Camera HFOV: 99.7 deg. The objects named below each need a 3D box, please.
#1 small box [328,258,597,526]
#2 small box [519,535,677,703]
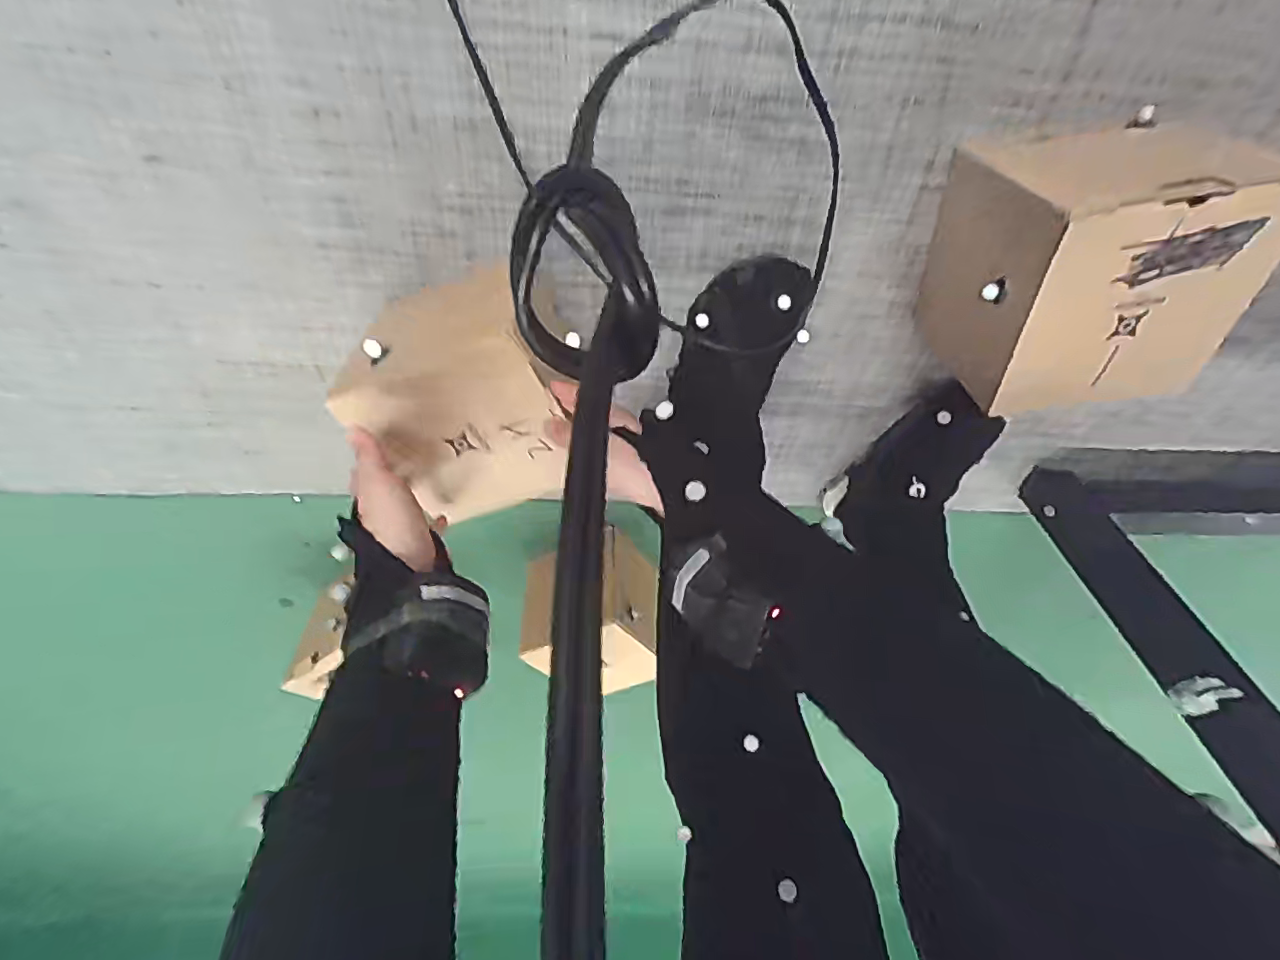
[{"bbox_3d":[-0.151,-0.086,0.532,0.179,0.176,0.168,-17,132,13],"label":"small box"},{"bbox_3d":[-0.058,0.215,0.834,0.168,0.176,0.179,-25,130,21],"label":"small box"}]
